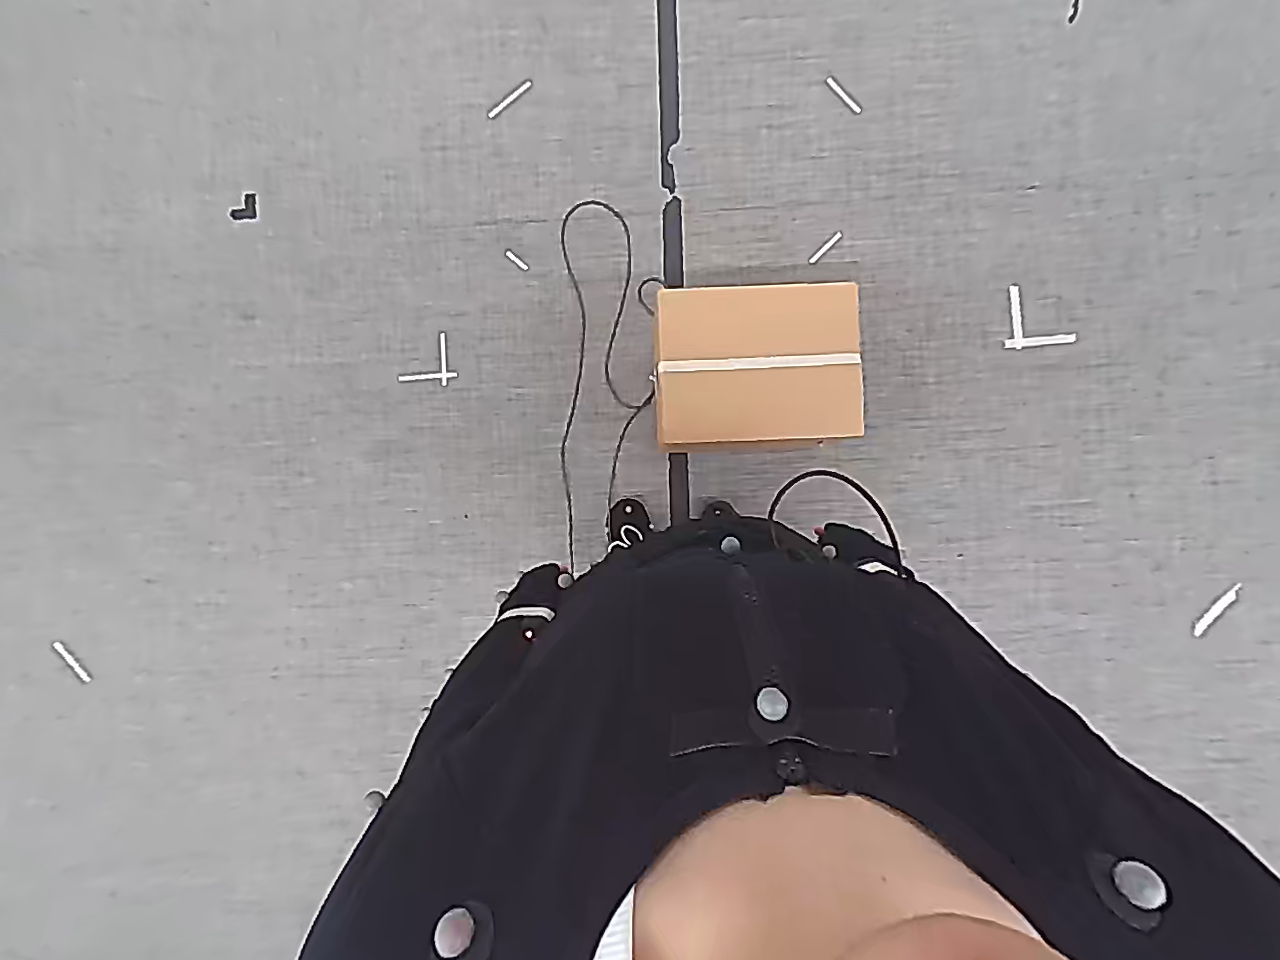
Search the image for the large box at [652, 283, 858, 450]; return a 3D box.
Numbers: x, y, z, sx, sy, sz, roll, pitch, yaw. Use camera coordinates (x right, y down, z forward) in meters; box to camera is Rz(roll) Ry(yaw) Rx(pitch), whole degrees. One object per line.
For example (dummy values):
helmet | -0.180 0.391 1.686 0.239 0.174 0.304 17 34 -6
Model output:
large box | 0.238 -0.236 1.240 0.408 0.320 0.320 -2 89 0
